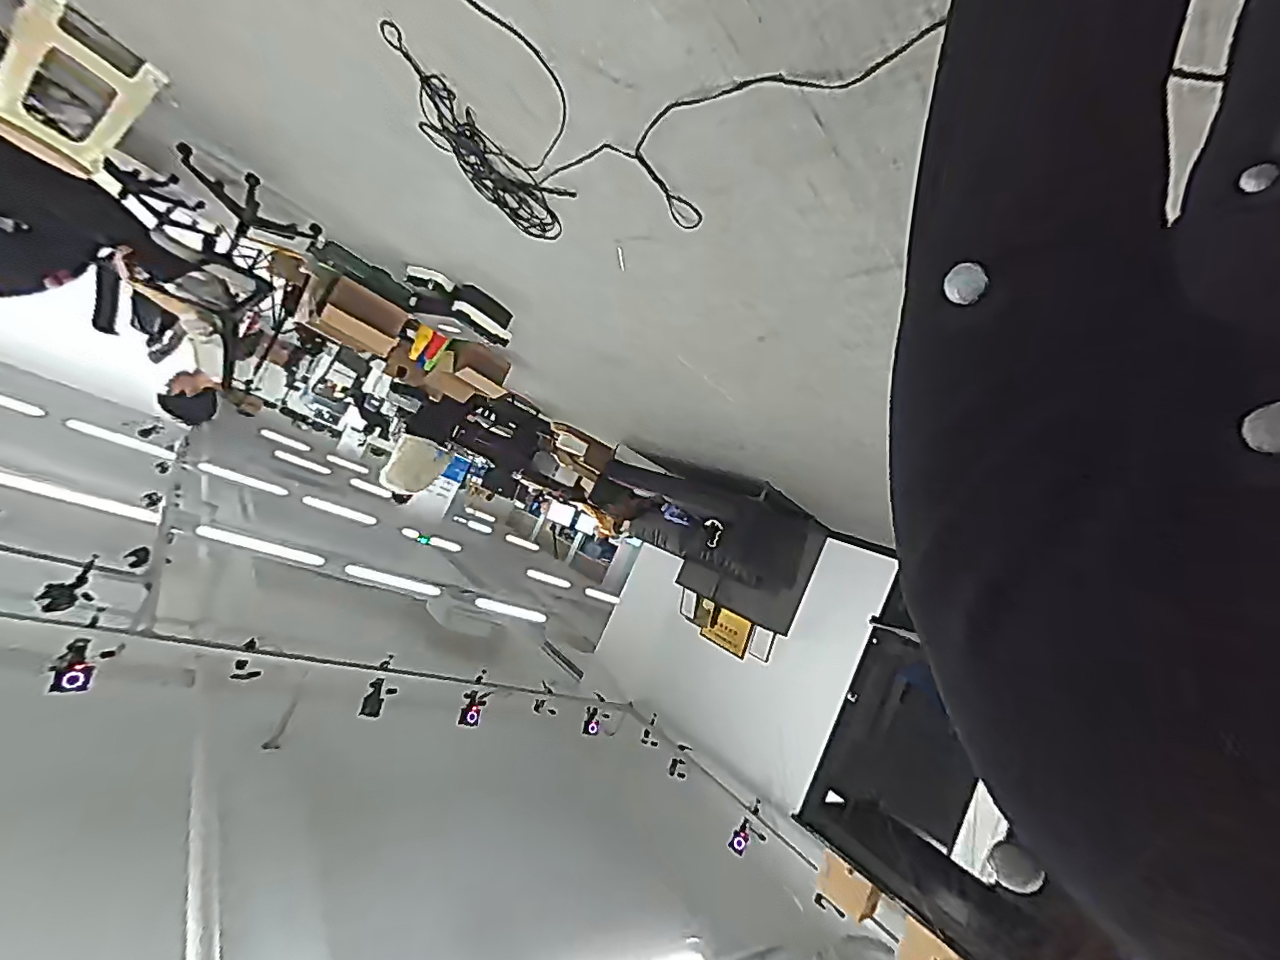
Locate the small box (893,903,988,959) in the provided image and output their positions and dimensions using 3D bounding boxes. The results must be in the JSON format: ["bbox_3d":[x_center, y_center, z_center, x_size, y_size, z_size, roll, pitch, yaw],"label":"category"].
[{"bbox_3d":[0.883,1.388,1.586,0.179,0.176,0.168,28,174,-35],"label":"small box"}]

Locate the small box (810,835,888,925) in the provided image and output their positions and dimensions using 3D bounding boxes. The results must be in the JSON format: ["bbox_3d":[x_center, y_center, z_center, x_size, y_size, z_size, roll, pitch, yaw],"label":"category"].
[{"bbox_3d":[0.707,1.331,1.814,0.168,0.176,0.179,19,171,45],"label":"small box"}]
